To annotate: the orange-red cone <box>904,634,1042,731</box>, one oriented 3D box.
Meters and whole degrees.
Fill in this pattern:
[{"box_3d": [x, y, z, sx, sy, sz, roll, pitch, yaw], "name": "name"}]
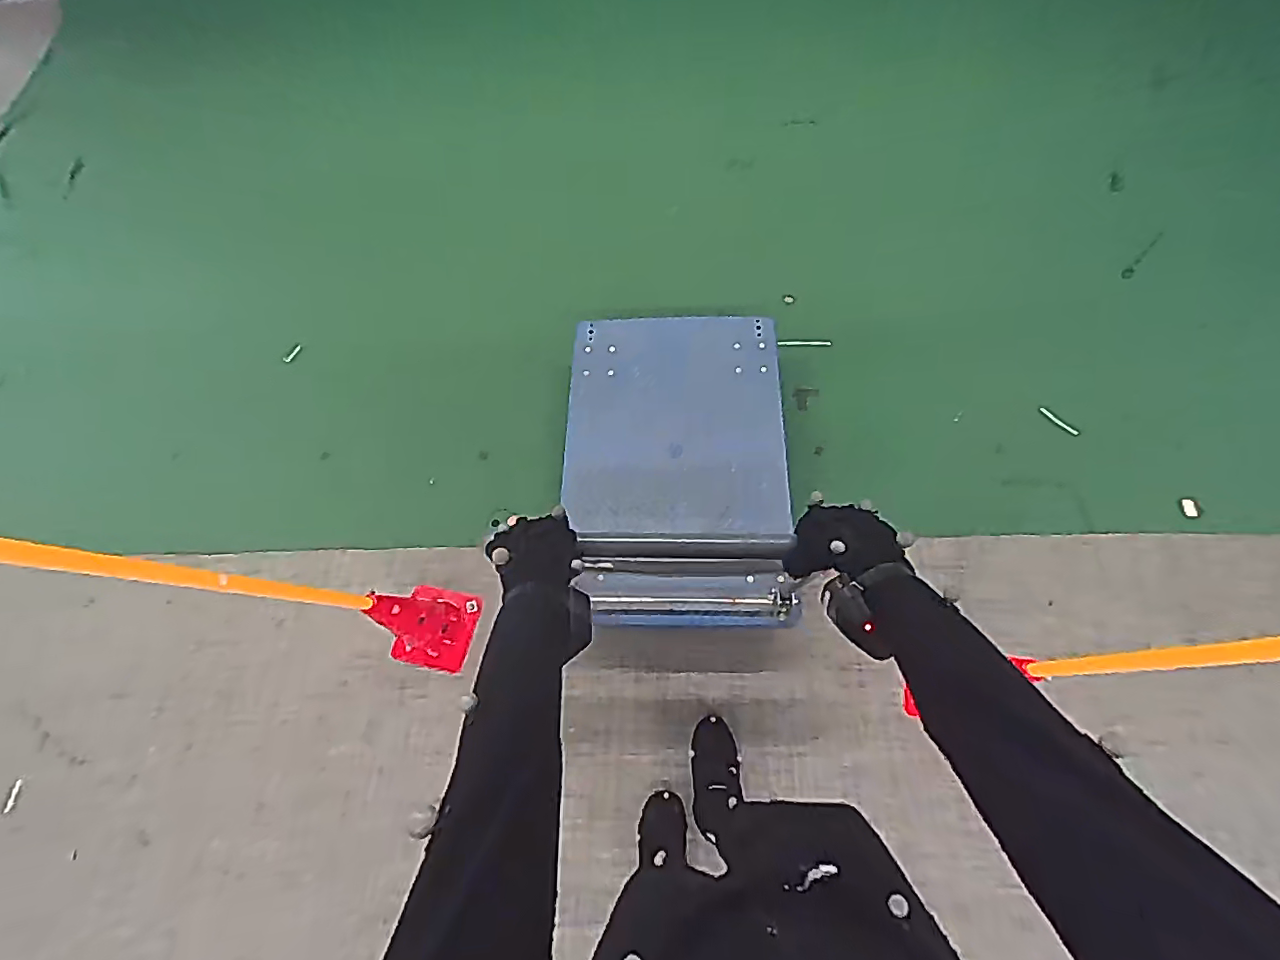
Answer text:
[{"box_3d": [0.731, 0.420, 1.151, 0.198, 0.360, 0.199, 9, 68, 8], "name": "orange-red cone"}]
